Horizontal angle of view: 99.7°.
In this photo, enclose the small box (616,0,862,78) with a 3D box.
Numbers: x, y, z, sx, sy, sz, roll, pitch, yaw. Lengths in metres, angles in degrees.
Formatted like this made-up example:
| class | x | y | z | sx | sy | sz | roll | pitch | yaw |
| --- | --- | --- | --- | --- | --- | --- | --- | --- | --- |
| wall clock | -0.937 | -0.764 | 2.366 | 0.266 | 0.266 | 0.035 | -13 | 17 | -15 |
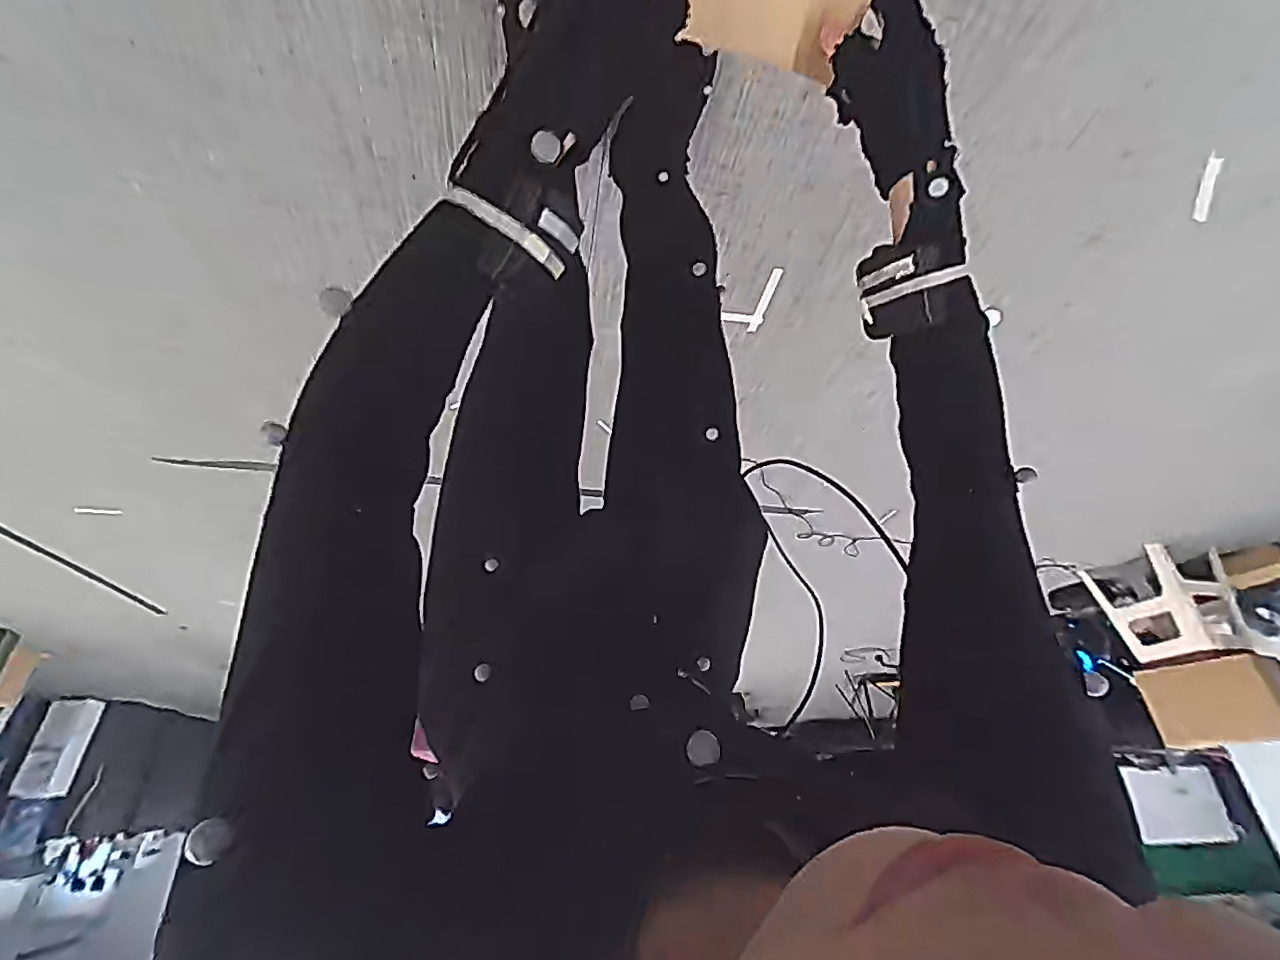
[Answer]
| class | x | y | z | sx | sy | sz | roll | pitch | yaw |
| --- | --- | --- | --- | --- | --- | --- | --- | --- | --- |
| small box | 0.072 | -0.430 | 0.379 | 0.179 | 0.176 | 0.168 | 0 | 146 | -20 |
